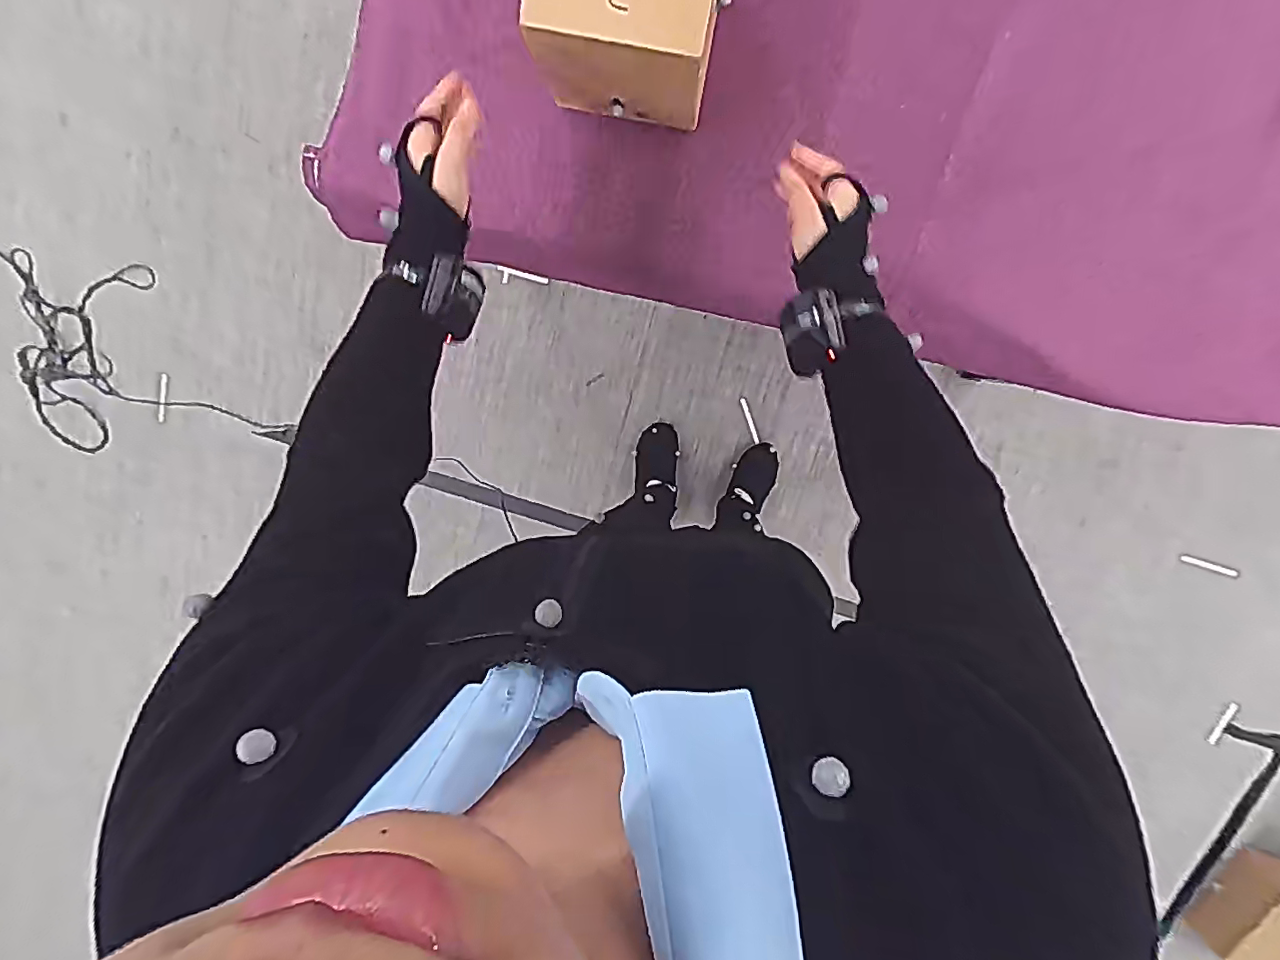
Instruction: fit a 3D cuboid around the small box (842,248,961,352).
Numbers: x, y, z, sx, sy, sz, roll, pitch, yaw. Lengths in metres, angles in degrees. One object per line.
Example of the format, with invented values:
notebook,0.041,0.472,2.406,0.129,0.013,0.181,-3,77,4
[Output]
small box,0.597,-0.411,1.265,0.168,0.176,0.179,24,103,-2
